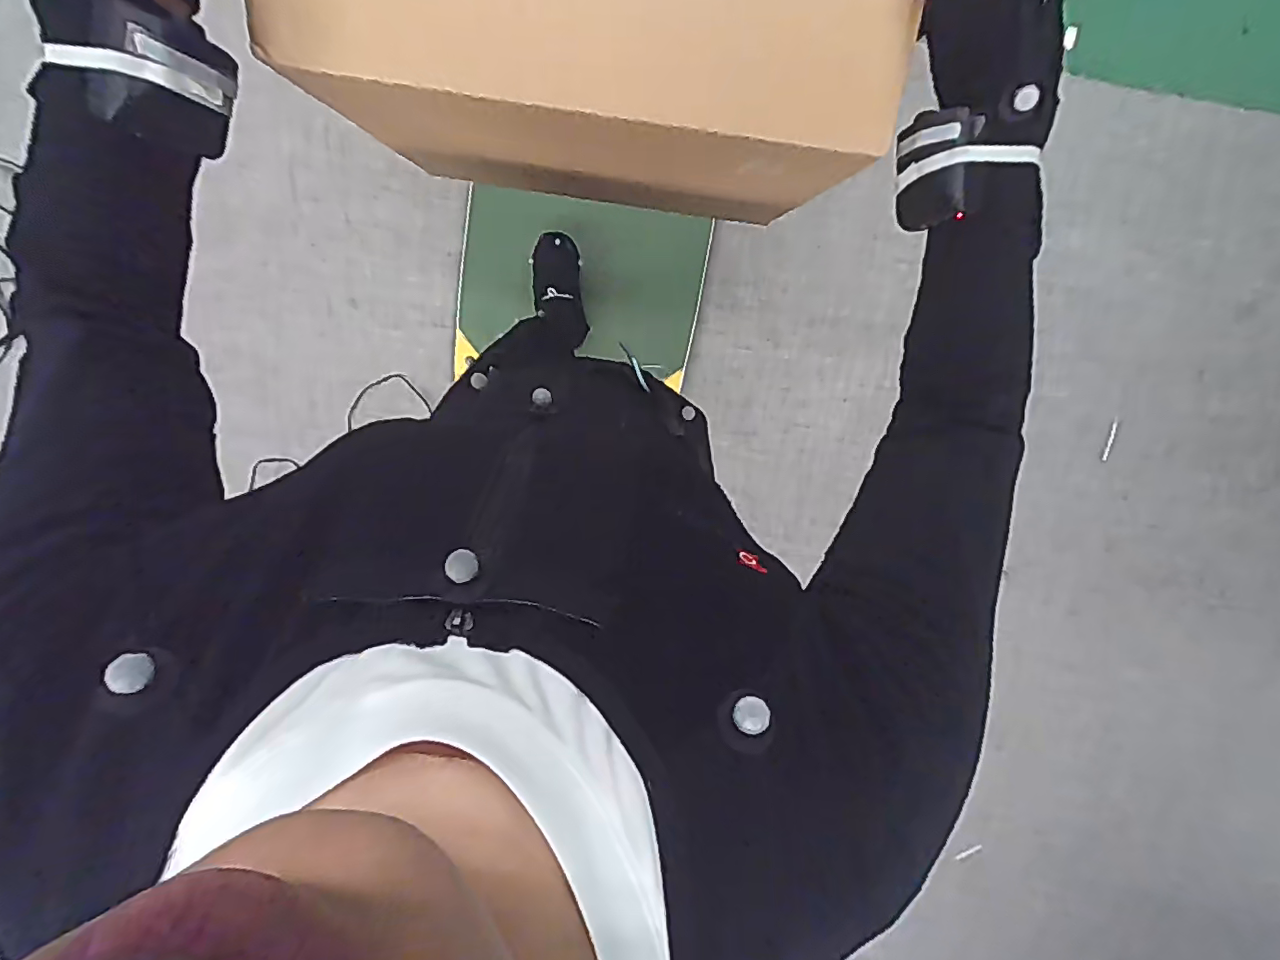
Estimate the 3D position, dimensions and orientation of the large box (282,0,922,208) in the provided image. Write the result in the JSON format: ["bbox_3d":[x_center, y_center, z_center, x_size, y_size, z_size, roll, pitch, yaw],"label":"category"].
[{"bbox_3d":[-0.016,-0.440,0.447,0.408,0.320,0.320,6,108,-5],"label":"large box"}]
